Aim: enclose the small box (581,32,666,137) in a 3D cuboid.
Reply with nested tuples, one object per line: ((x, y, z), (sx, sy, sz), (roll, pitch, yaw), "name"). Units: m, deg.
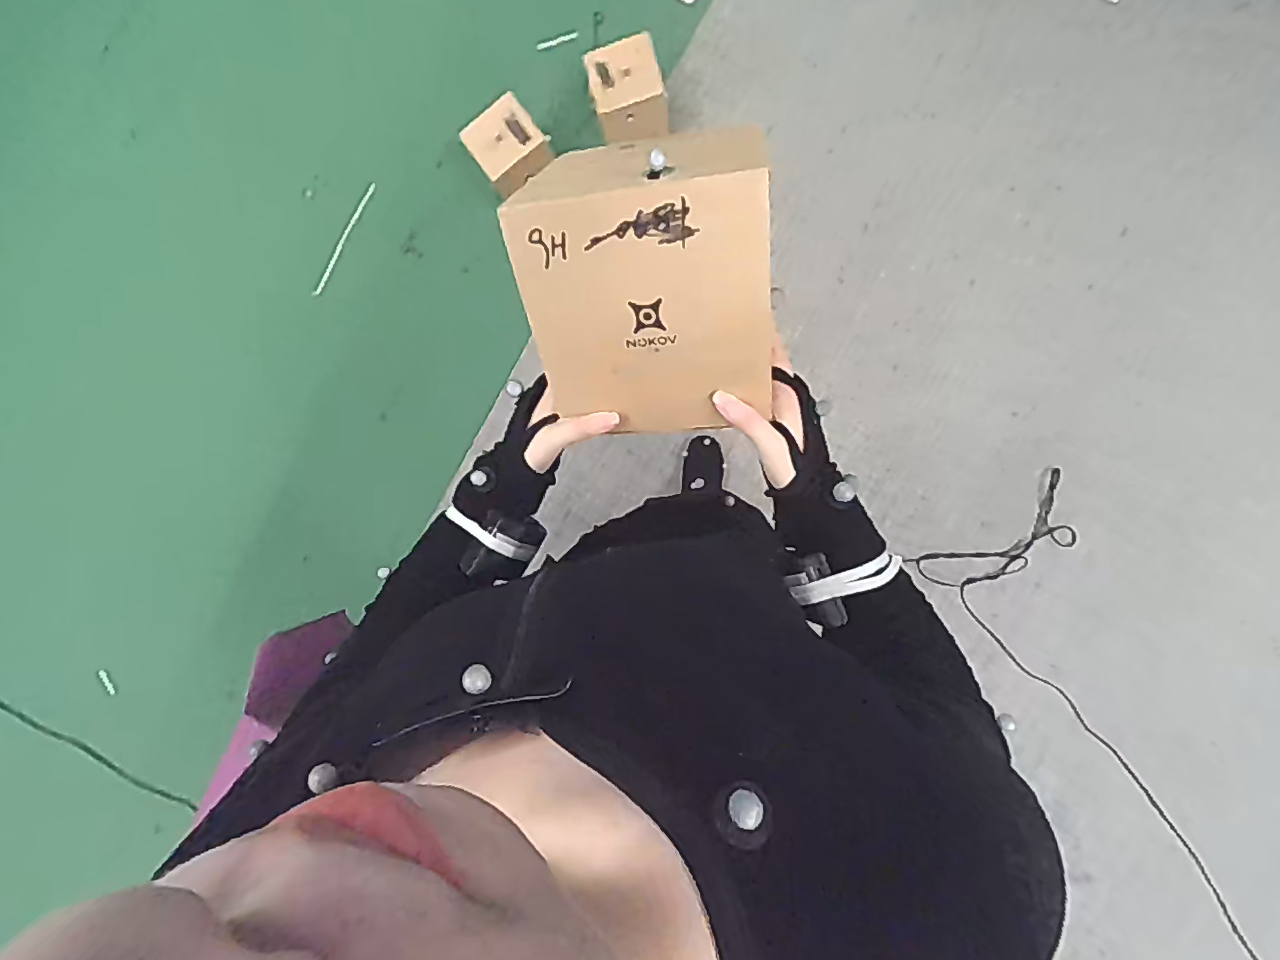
((-0.038, -1.013, 1.428), (0.179, 0.176, 0.168), (-15, 88, 6), "small box")

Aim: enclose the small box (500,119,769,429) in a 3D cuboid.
((0.016, -0.161, 0.430), (0.168, 0.176, 0.179), (-2, 131, 11), "small box")
